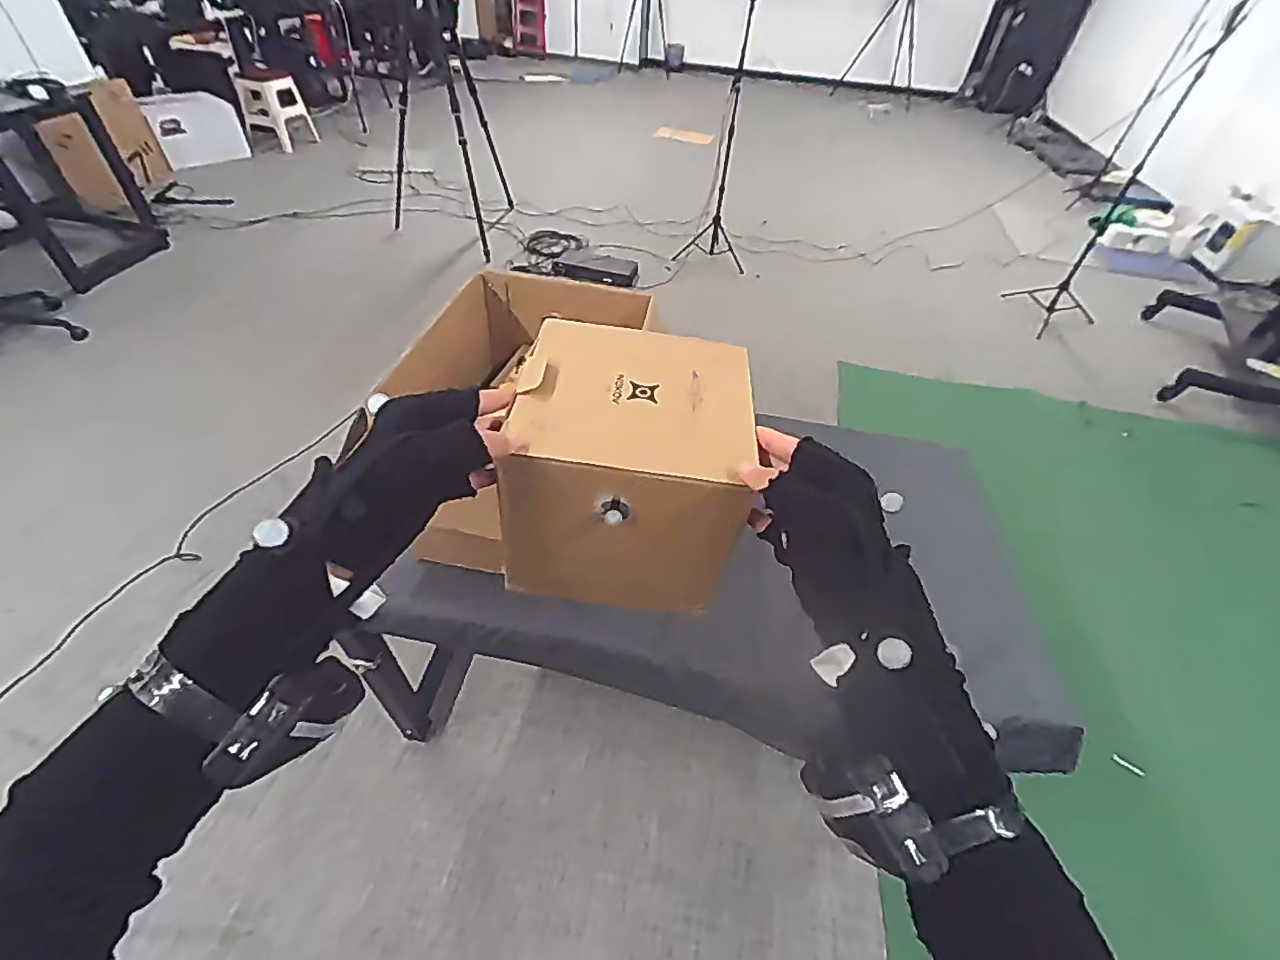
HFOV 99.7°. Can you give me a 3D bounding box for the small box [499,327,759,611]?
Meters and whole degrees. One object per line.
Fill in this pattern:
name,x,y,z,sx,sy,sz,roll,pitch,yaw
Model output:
small box,-0.010,-0.005,0.464,0.179,0.176,0.168,9,47,-3
